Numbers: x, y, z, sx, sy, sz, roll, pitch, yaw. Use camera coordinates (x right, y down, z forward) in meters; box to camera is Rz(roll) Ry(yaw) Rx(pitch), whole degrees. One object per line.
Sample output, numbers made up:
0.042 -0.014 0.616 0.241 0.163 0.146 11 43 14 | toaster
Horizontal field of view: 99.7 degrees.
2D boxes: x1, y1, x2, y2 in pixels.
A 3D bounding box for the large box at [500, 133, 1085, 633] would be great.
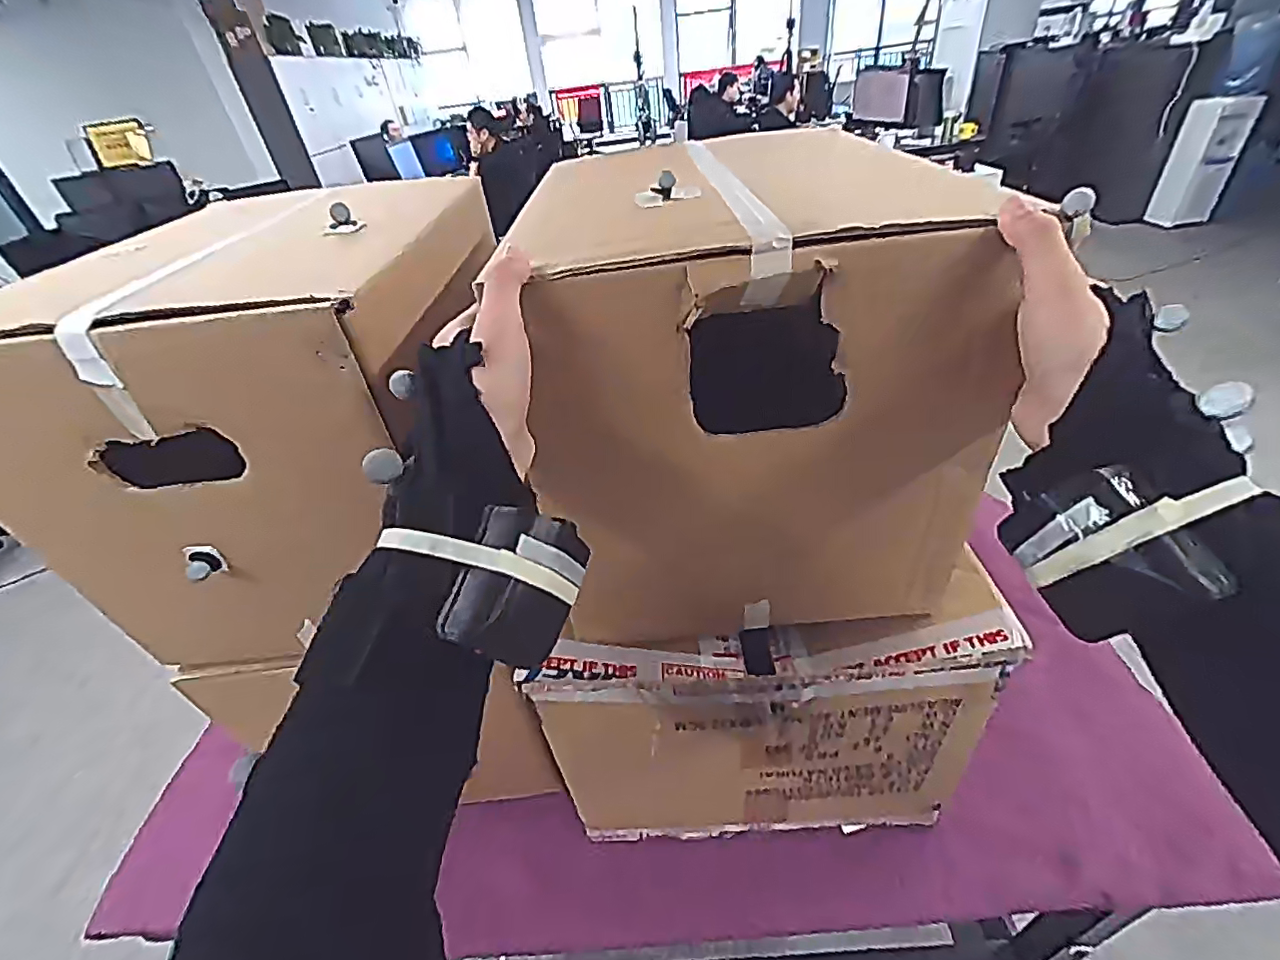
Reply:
0.081 -0.119 0.524 0.320 0.320 0.408 -7 38 3 | large box
